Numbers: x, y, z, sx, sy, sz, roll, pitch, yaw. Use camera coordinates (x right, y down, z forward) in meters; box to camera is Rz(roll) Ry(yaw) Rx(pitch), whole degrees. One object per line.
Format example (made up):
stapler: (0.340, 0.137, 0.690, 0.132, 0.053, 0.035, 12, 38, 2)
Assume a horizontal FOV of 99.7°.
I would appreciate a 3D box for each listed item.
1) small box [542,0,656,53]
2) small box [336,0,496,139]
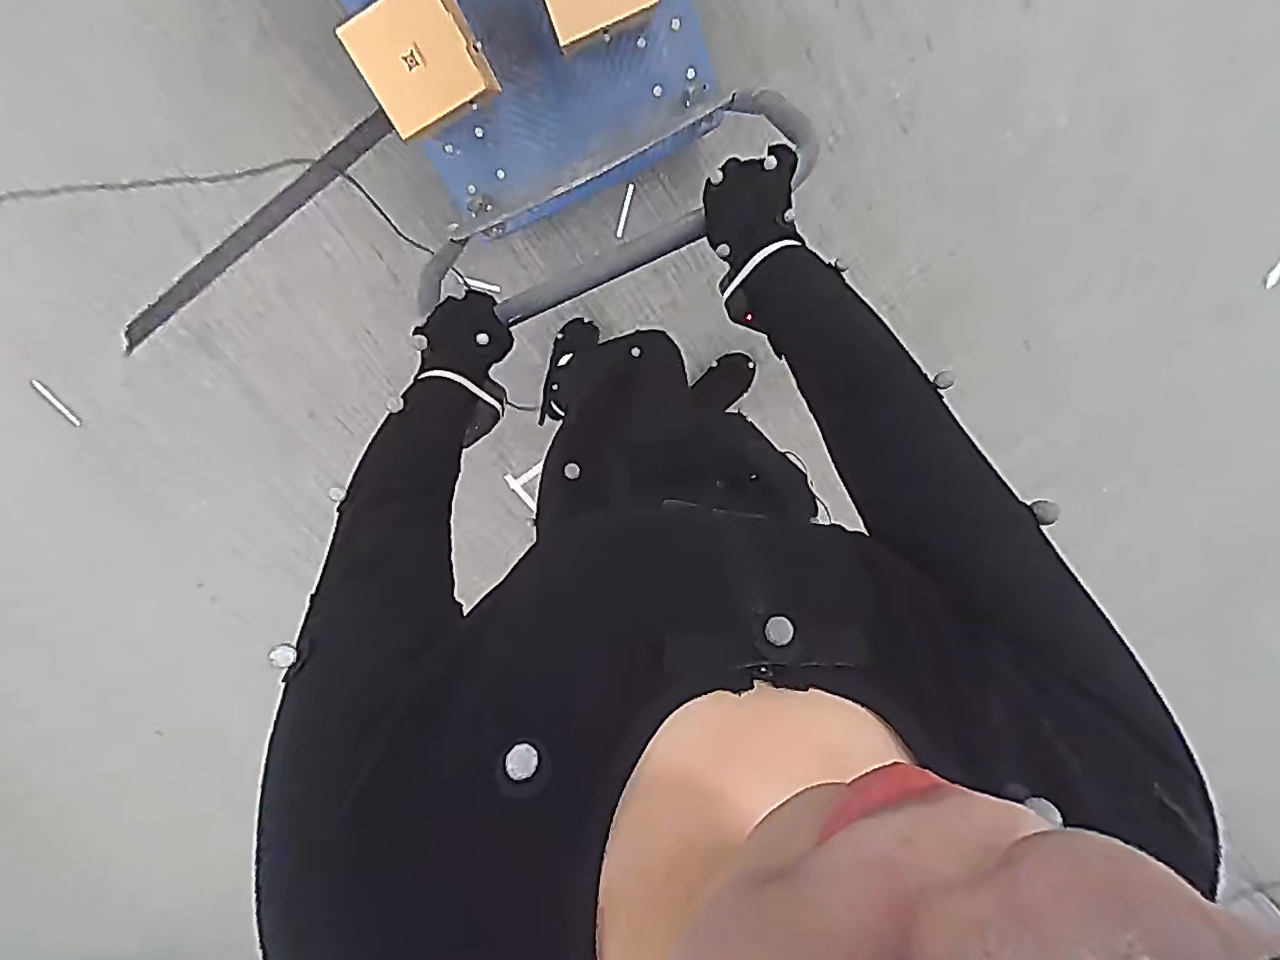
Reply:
small box: (-0.082, -0.834, 0.885, 0.179, 0.176, 0.168, -19, 123, 8)
small box: (-0.372, -0.717, 0.938, 0.179, 0.176, 0.168, -25, 121, 10)
